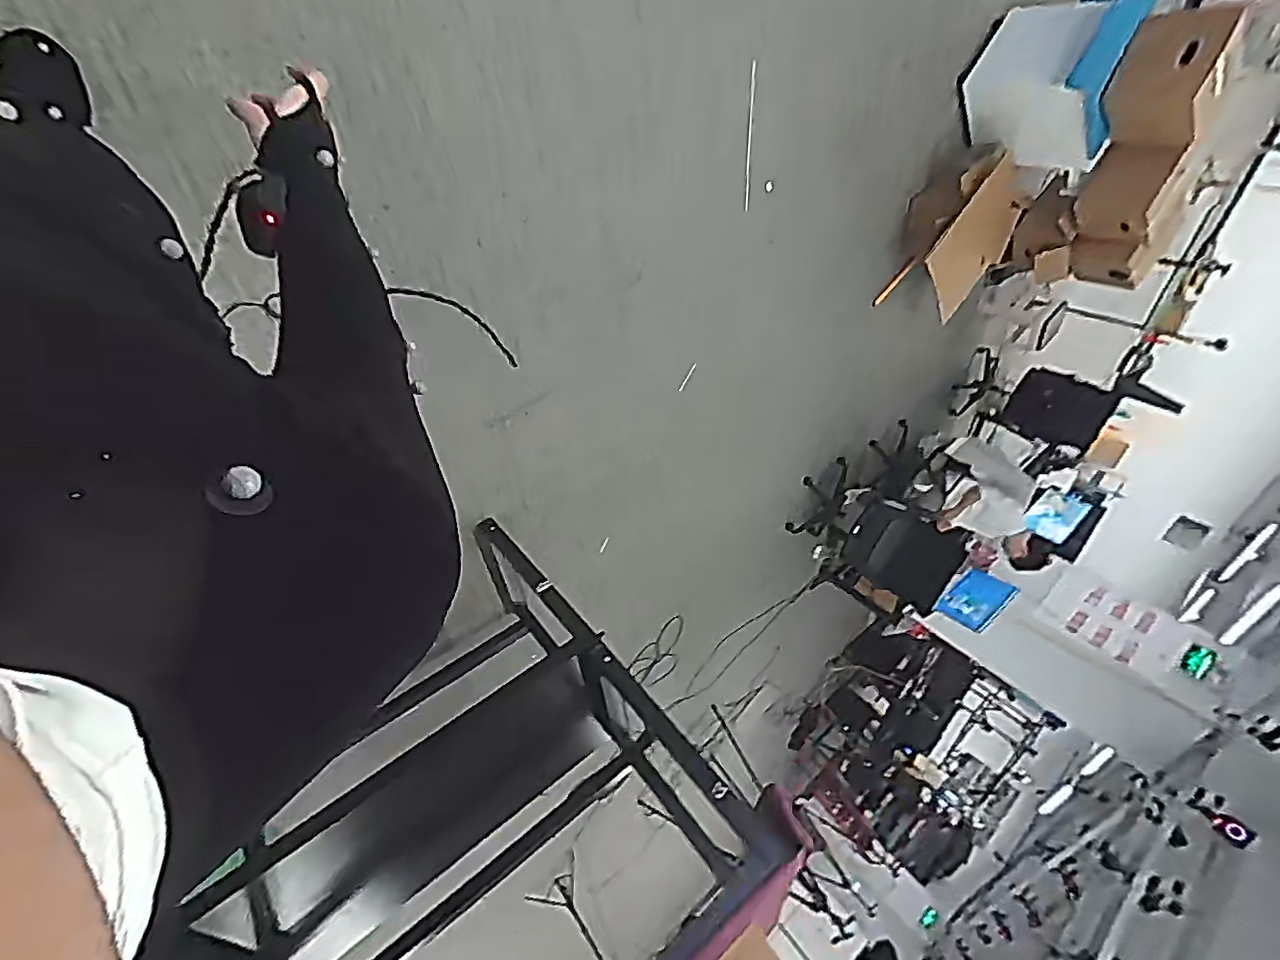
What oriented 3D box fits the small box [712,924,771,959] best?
[{"bbox_3d":[0.207,1.064,1.097,0.179,0.176,0.168,-30,138,-23],"label":"small box"}]
